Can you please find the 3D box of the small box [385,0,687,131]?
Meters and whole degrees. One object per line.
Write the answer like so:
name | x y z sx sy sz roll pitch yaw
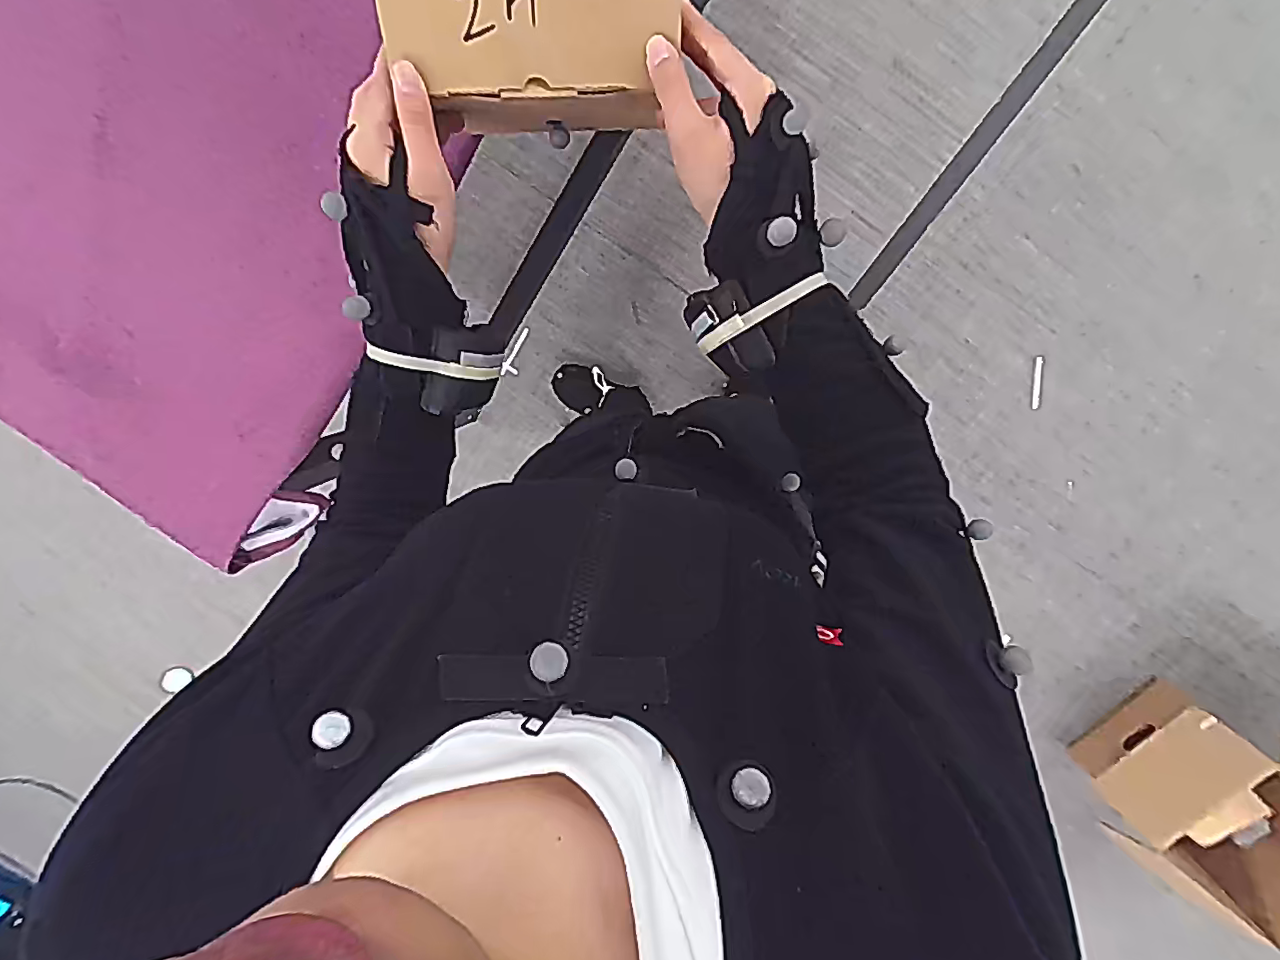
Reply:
small box | -0.059 -0.340 0.345 0.168 0.176 0.179 -1 116 -1
